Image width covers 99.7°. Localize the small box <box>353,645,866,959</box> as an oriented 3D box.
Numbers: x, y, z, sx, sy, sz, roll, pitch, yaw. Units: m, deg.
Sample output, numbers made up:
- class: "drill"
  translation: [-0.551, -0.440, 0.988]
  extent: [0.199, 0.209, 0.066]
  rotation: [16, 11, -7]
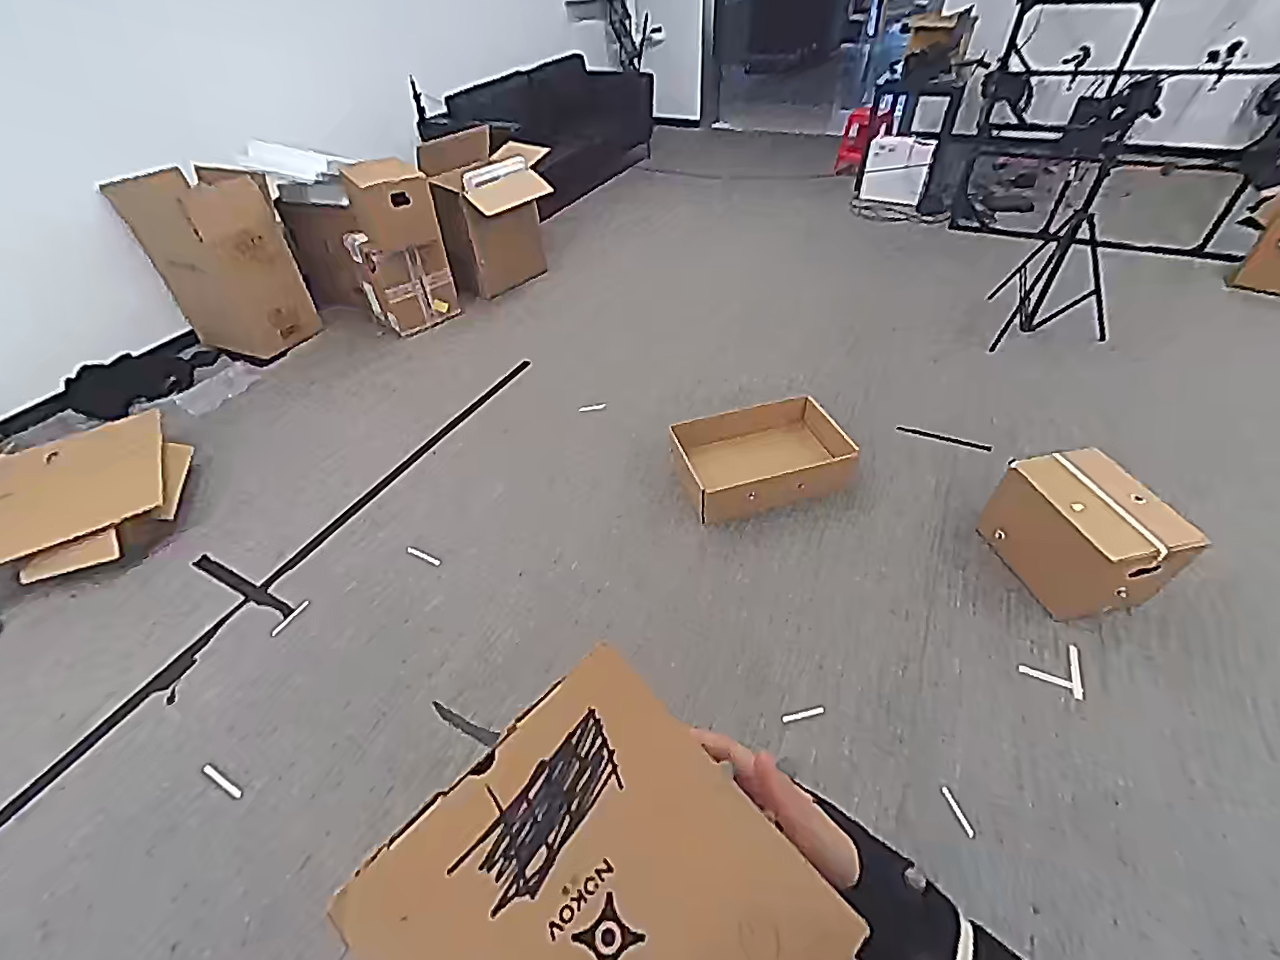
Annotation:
- class: "small box"
  translation: [-0.017, 0.231, 0.312]
  extent: [0.168, 0.176, 0.179]
  rotation: [-40, 69, -20]
